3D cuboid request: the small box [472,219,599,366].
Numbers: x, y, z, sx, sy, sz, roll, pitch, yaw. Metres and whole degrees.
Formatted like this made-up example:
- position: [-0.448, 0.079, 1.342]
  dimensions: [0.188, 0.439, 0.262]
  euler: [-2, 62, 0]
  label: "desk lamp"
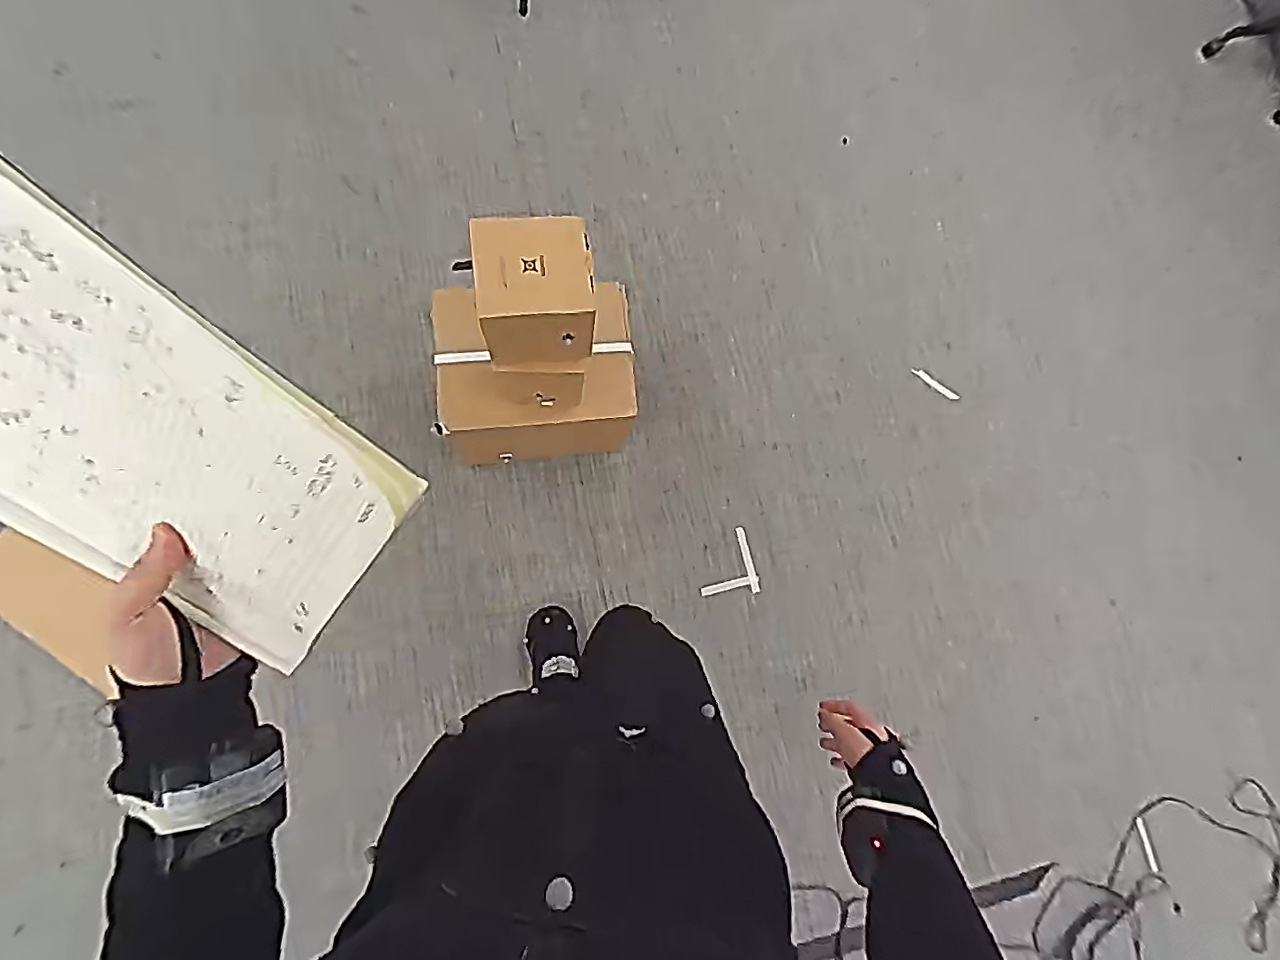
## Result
- position: [-0.167, -0.300, 0.887]
  dimensions: [0.179, 0.176, 0.168]
  euler: [-7, 79, -8]
  label: "small box"
